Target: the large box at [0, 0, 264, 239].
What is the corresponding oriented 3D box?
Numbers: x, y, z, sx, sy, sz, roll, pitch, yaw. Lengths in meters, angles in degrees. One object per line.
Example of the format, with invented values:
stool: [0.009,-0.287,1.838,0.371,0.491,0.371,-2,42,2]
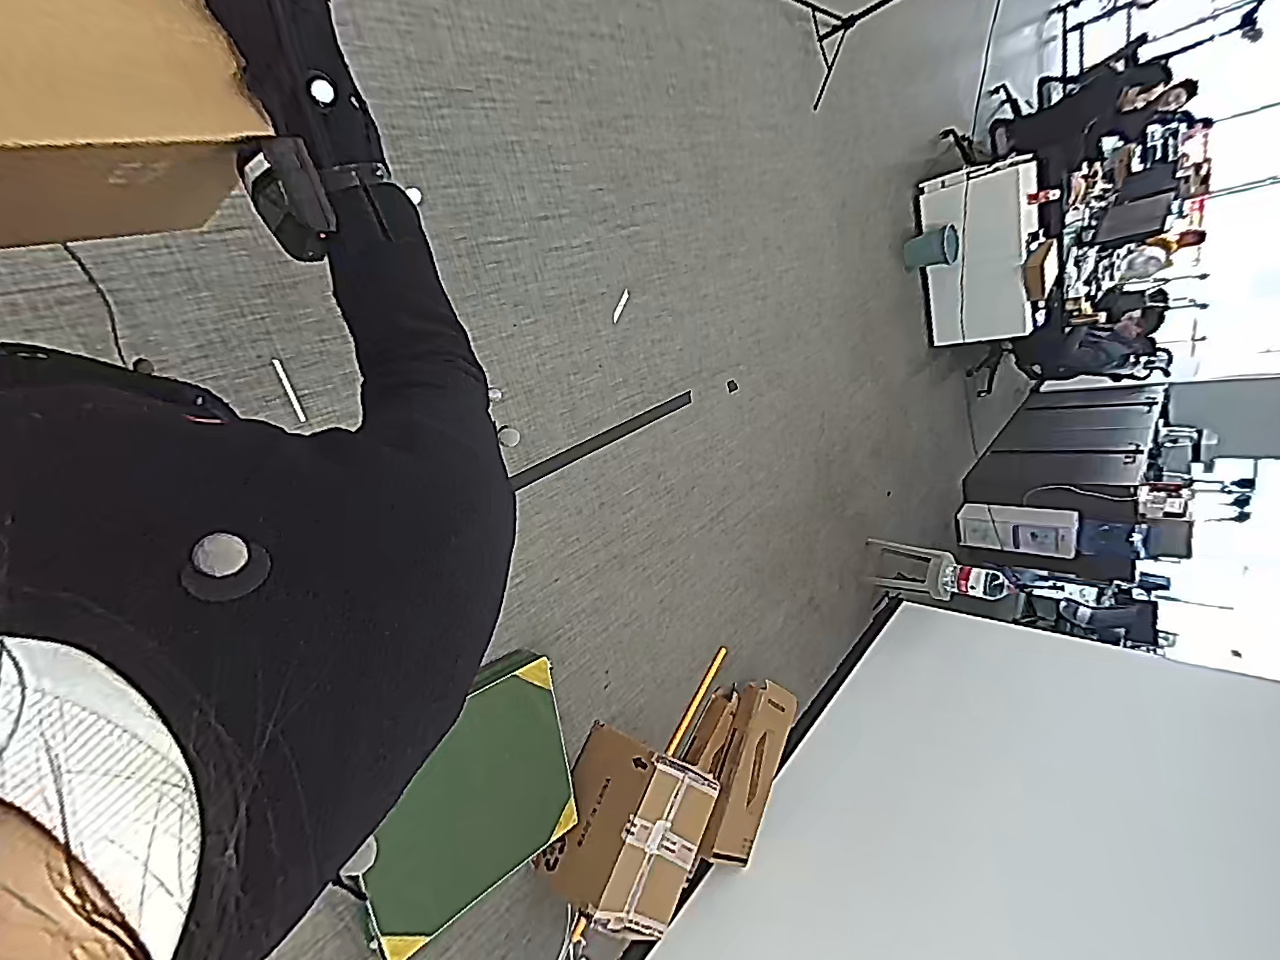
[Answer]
large box: [-0.517,-0.303,0.279,0.408,0.320,0.320,-33,121,-39]
